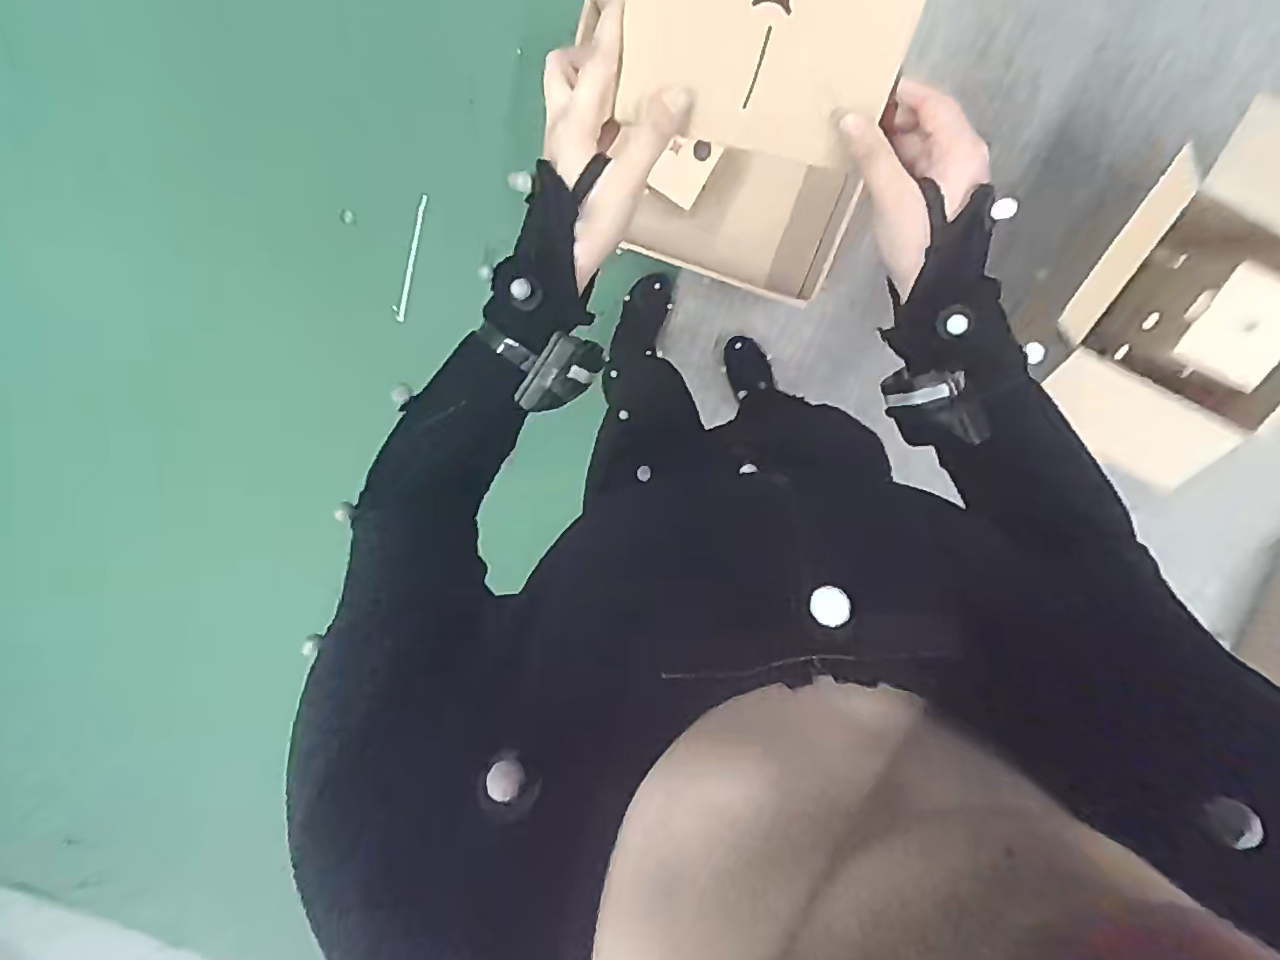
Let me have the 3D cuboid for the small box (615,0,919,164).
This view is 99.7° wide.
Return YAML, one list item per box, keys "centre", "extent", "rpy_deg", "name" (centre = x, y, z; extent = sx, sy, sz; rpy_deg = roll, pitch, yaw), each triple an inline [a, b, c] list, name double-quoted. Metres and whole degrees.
- centre: [0.075, -0.332, 0.359]
  extent: [0.168, 0.176, 0.179]
  rpy_deg: [7, 125, -8]
  name: "small box"

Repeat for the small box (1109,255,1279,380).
- centre: [1.065, -0.309, 1.026]
  extent: [0.179, 0.176, 0.168]
  rpy_deg: [22, 112, -3]
  name: "small box"

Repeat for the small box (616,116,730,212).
- centre: [0.072, -0.685, 1.131]
  extent: [0.179, 0.176, 0.168]
  rpy_deg: [31, 108, -7]
  name: "small box"
